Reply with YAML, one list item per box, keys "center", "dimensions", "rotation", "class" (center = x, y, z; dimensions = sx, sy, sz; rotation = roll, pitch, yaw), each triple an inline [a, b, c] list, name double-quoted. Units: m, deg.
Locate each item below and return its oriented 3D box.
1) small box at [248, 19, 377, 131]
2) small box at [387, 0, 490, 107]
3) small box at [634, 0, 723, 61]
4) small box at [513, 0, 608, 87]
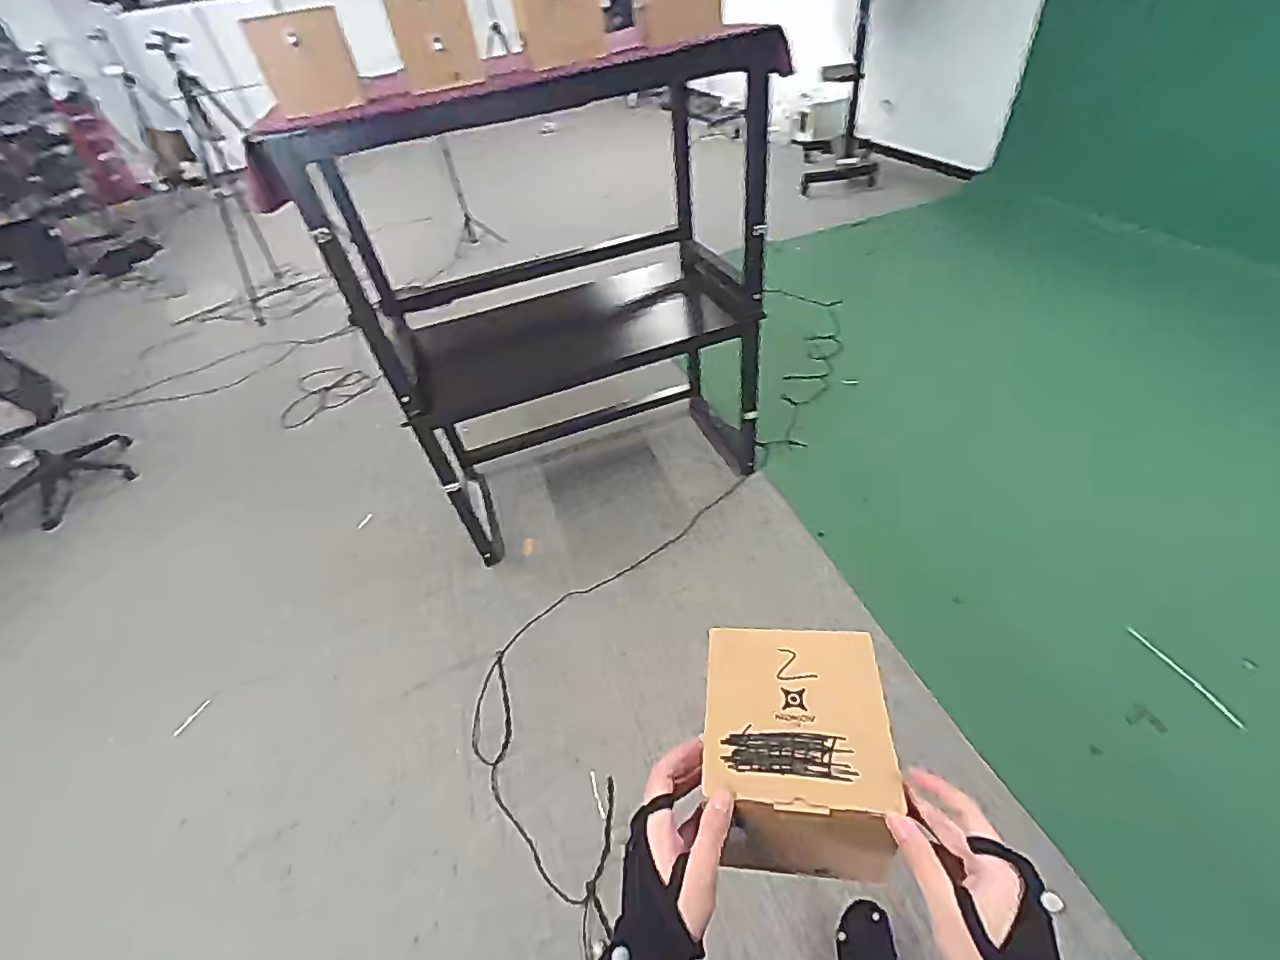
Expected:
- center: [-0.690, -0.868, 1.162]
  dimensions: [0.179, 0.176, 0.168]
  rotation: [-19, 44, -11]
  class: "small box"
- center: [-0.445, -0.950, 1.204]
  dimensions: [0.168, 0.176, 0.179]
  rotation: [-19, 43, -10]
  class: "small box"
- center: [0.090, -1.124, 1.292]
  dimensions: [0.179, 0.176, 0.168]
  rotation: [-16, 44, -6]
  class: "small box"
- center: [-0.181, -1.036, 1.252]
  dimensions: [0.179, 0.176, 0.168]
  rotation: [-19, 42, -8]
  class: "small box"
